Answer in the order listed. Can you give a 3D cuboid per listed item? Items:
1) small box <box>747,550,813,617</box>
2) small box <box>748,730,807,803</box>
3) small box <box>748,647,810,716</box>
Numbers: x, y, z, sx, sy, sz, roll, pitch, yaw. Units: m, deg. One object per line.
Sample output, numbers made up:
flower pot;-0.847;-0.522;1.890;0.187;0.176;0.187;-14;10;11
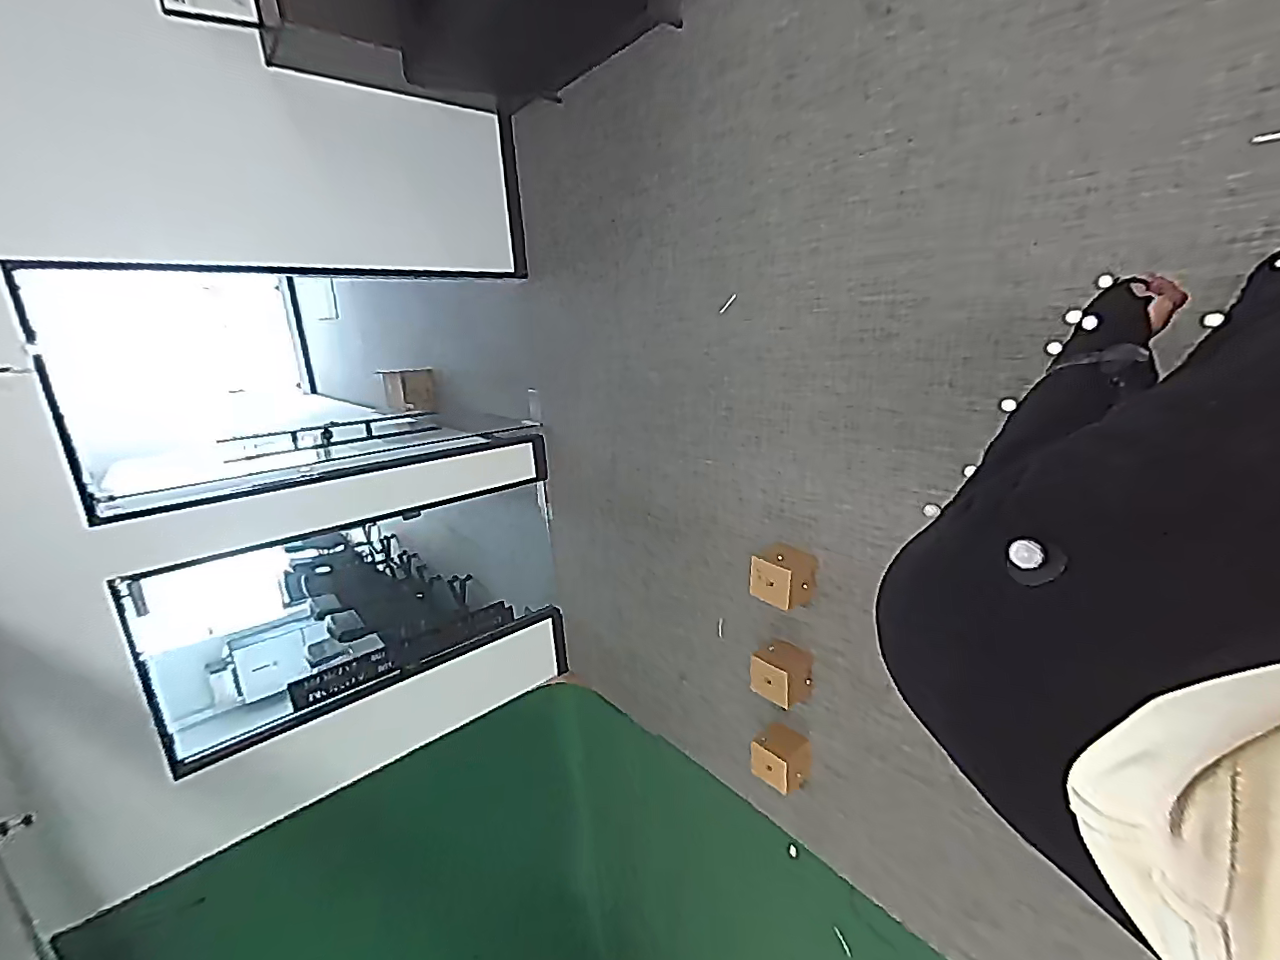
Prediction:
small box;0.523;0.376;2.012;0.179;0.176;0.168;20;116;46
small box;0.567;1.167;2.219;0.179;0.176;0.168;14;112;49
small box;0.544;0.780;2.121;0.179;0.176;0.168;13;112;48
